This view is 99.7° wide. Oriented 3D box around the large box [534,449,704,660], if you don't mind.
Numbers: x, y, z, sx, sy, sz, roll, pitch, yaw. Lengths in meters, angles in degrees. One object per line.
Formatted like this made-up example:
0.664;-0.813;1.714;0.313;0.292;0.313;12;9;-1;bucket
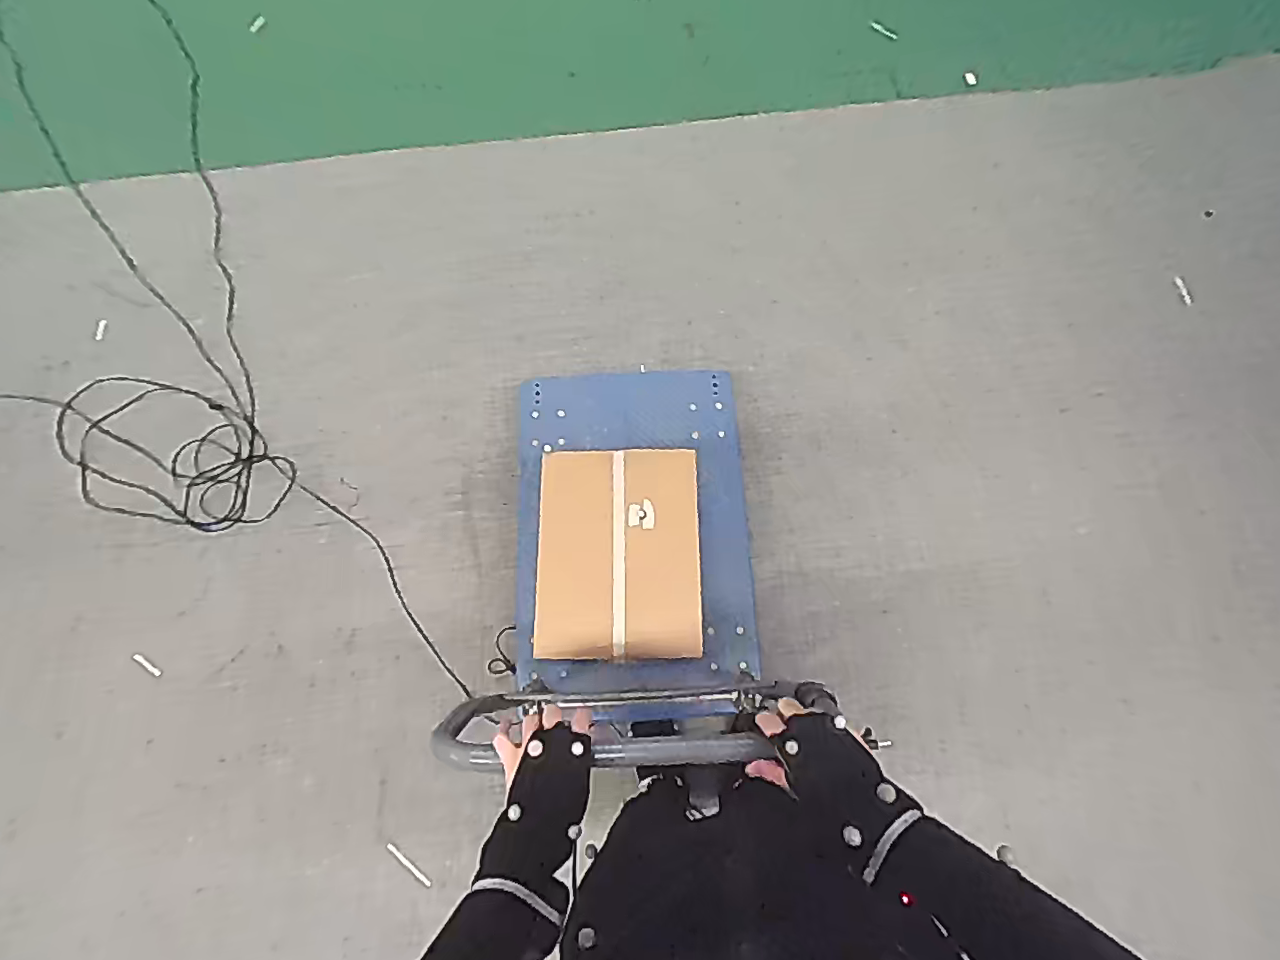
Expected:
-0.039;0.173;1.174;0.320;0.320;0.408;0;74;0;large box
